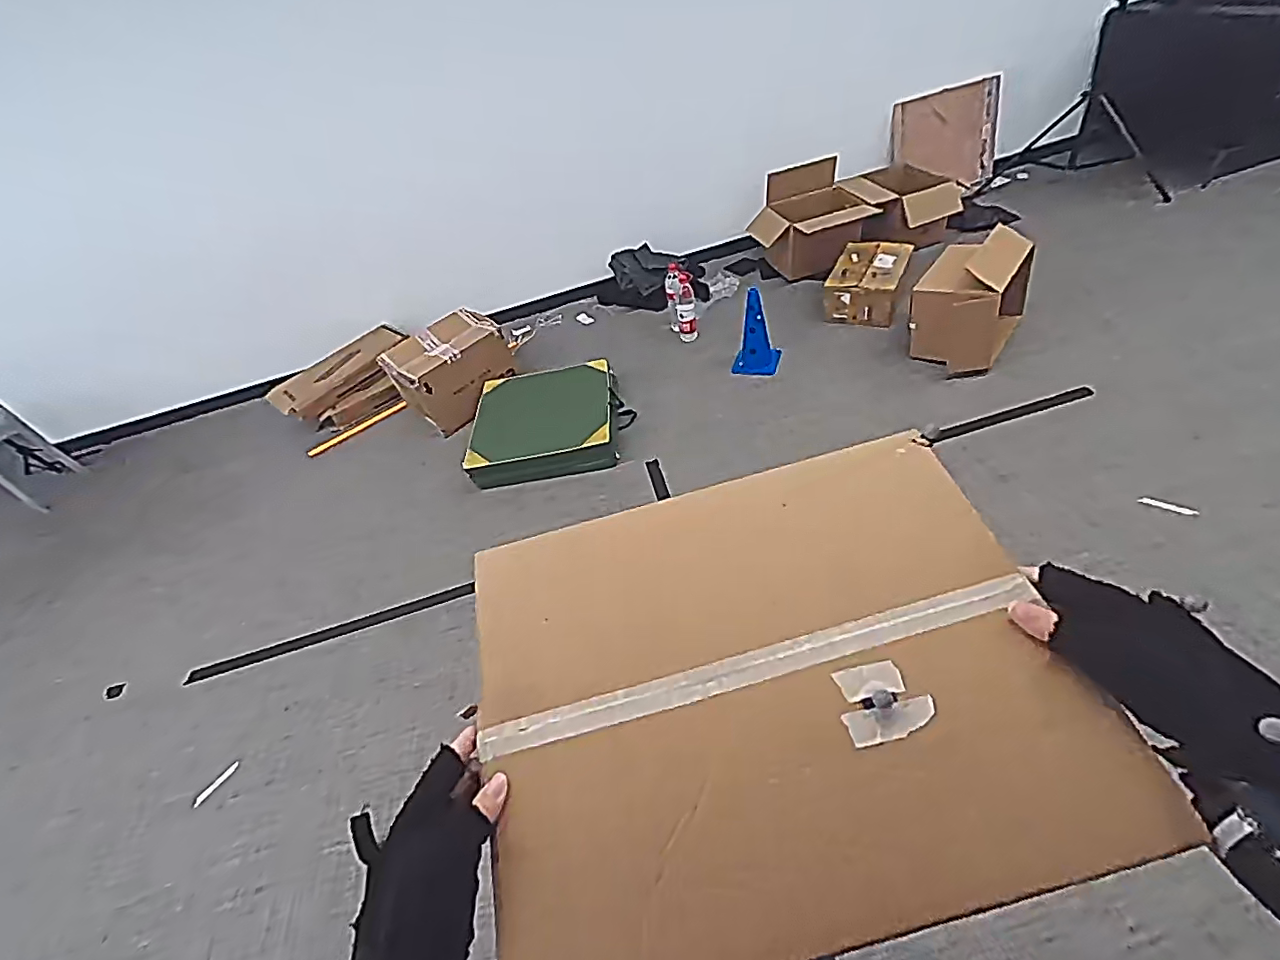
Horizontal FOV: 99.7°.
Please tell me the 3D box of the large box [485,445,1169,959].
[{"bbox_3d":[0.108,0.226,0.518,0.408,0.320,0.320,-16,55,-2],"label":"large box"}]
